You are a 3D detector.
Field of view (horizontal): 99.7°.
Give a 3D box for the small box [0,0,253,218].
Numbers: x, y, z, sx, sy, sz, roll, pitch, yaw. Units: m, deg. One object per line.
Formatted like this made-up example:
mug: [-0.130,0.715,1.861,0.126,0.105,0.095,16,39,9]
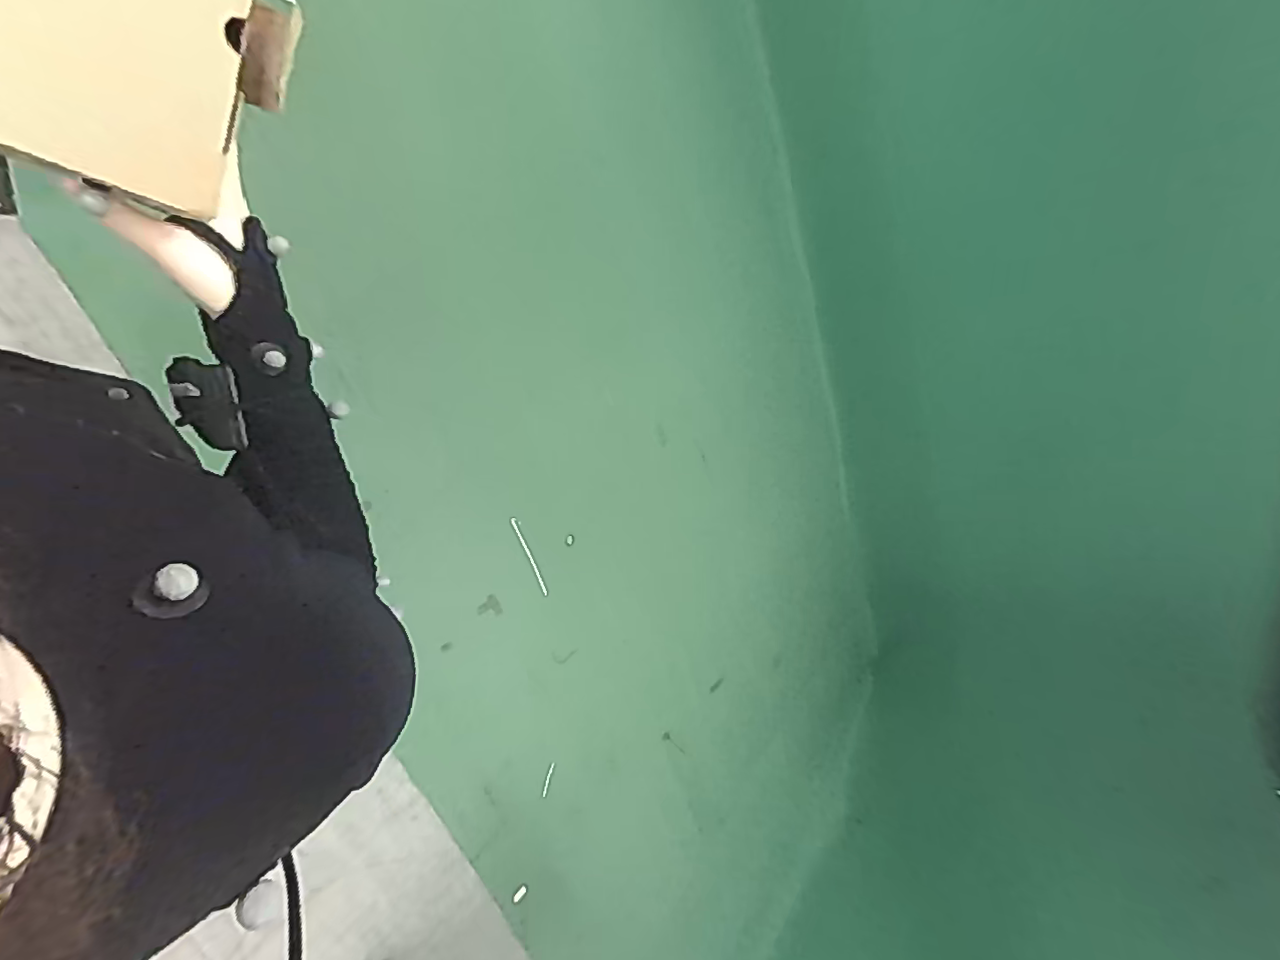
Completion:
small box: [-0.298,-0.236,0.239,0.179,0.176,0.168,8,104,-50]
